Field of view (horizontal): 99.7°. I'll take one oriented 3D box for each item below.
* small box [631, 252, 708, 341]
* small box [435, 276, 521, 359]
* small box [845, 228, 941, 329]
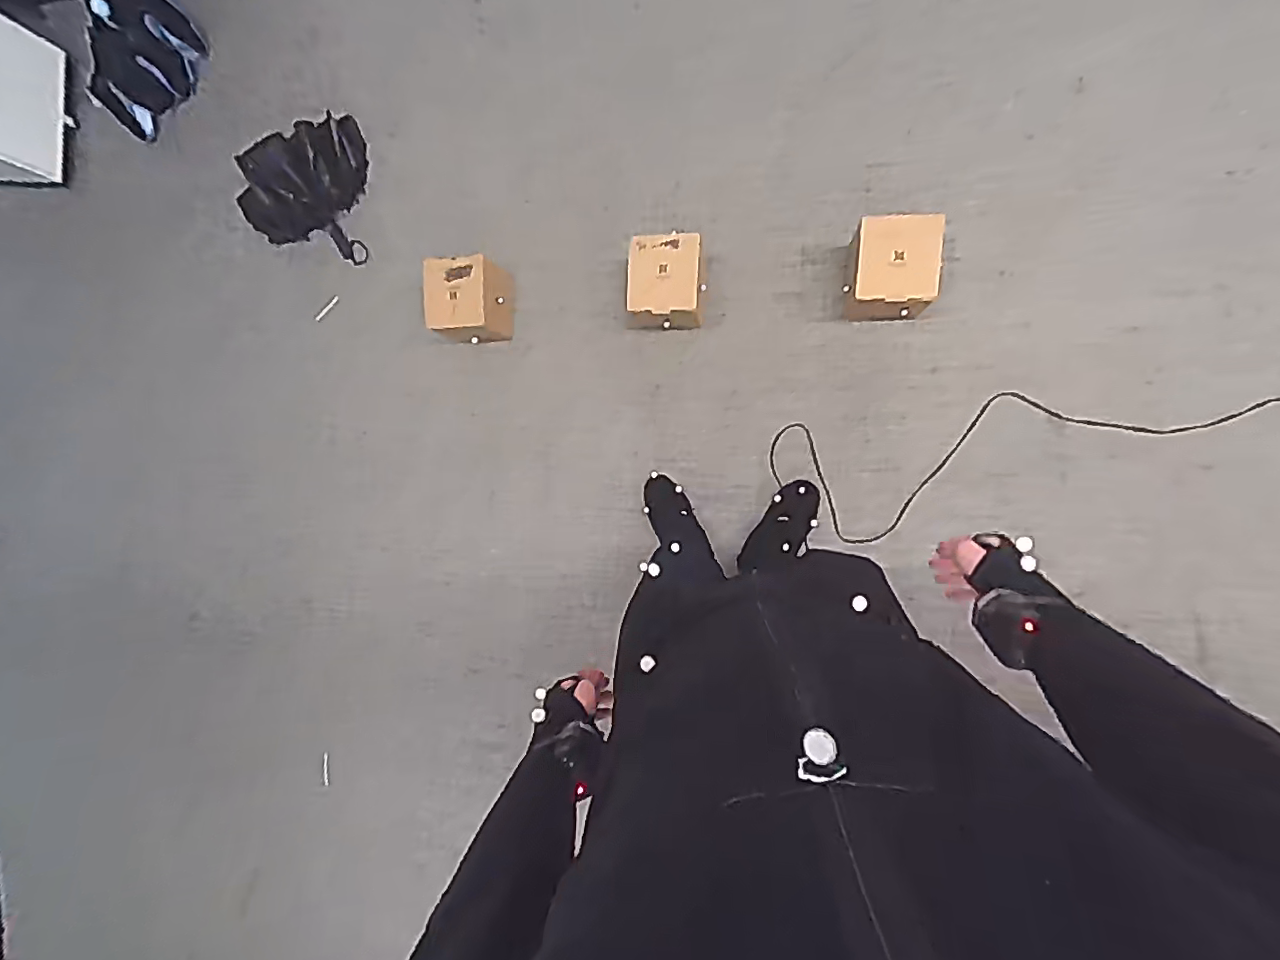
[{"bbox_3d":[0.078,-0.445,1.341,0.168,0.176,0.179,2,93,13],"label":"small box"},{"bbox_3d":[-0.432,-0.430,1.456,0.168,0.176,0.179,0,93,13],"label":"small box"},{"bbox_3d":[0.566,-0.447,1.229,0.168,0.176,0.179,2,91,12],"label":"small box"}]
